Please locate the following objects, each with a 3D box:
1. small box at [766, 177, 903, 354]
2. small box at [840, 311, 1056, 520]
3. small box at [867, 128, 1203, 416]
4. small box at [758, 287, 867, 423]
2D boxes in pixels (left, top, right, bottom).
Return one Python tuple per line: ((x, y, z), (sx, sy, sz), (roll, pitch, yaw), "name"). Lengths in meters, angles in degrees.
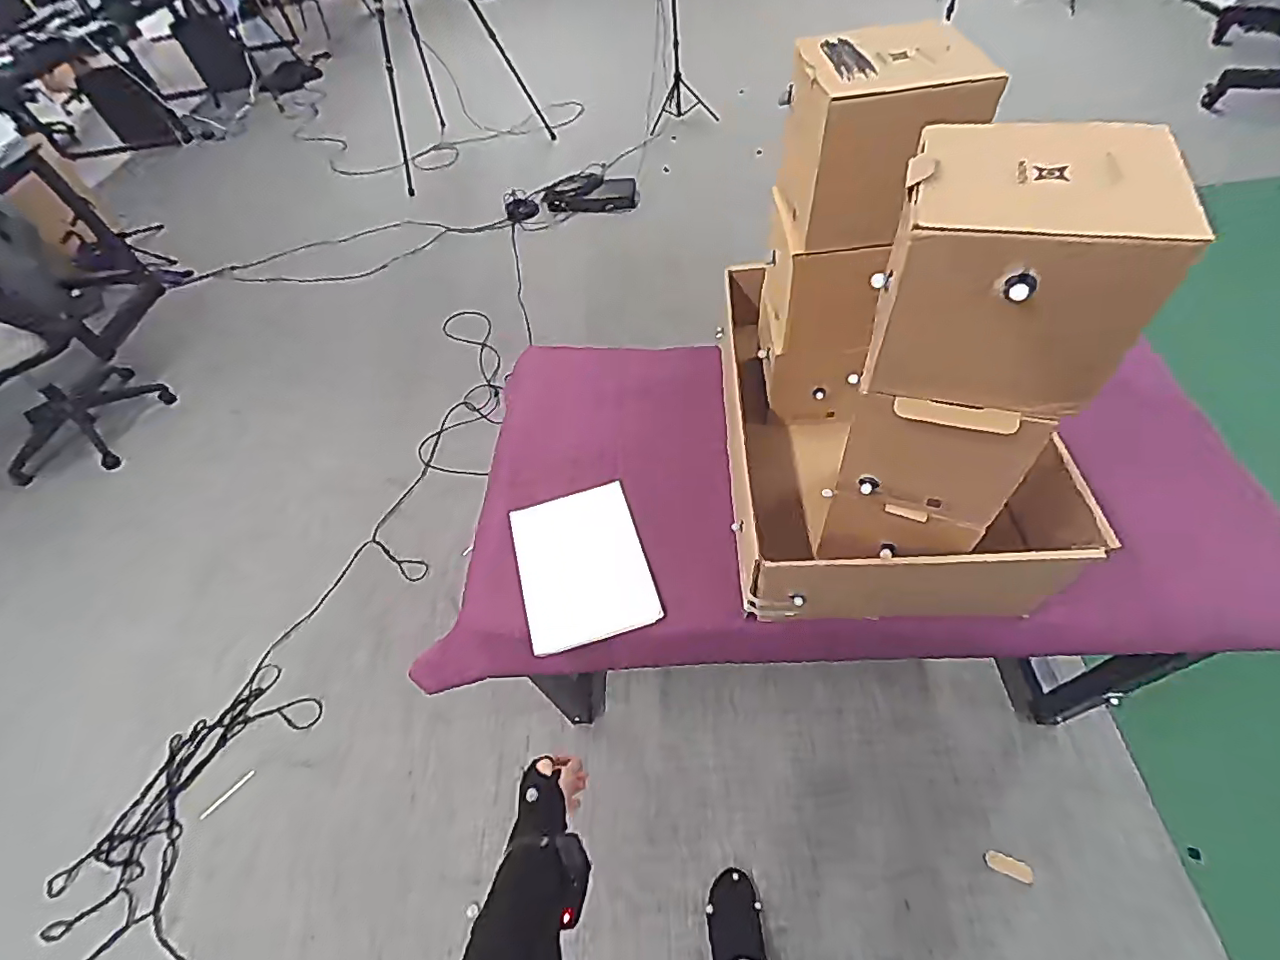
((0.278, -0.297, 0.770), (0.179, 0.176, 0.168), (-5, 55, 5), "small box")
((0.326, -0.080, 0.595), (0.168, 0.176, 0.179), (14, 56, 20), "small box")
((0.306, -0.175, 0.465), (0.179, 0.176, 0.168), (12, 56, 18), "small box")
((0.291, -0.207, 0.903), (0.168, 0.176, 0.179), (-3, 55, 6), "small box")
